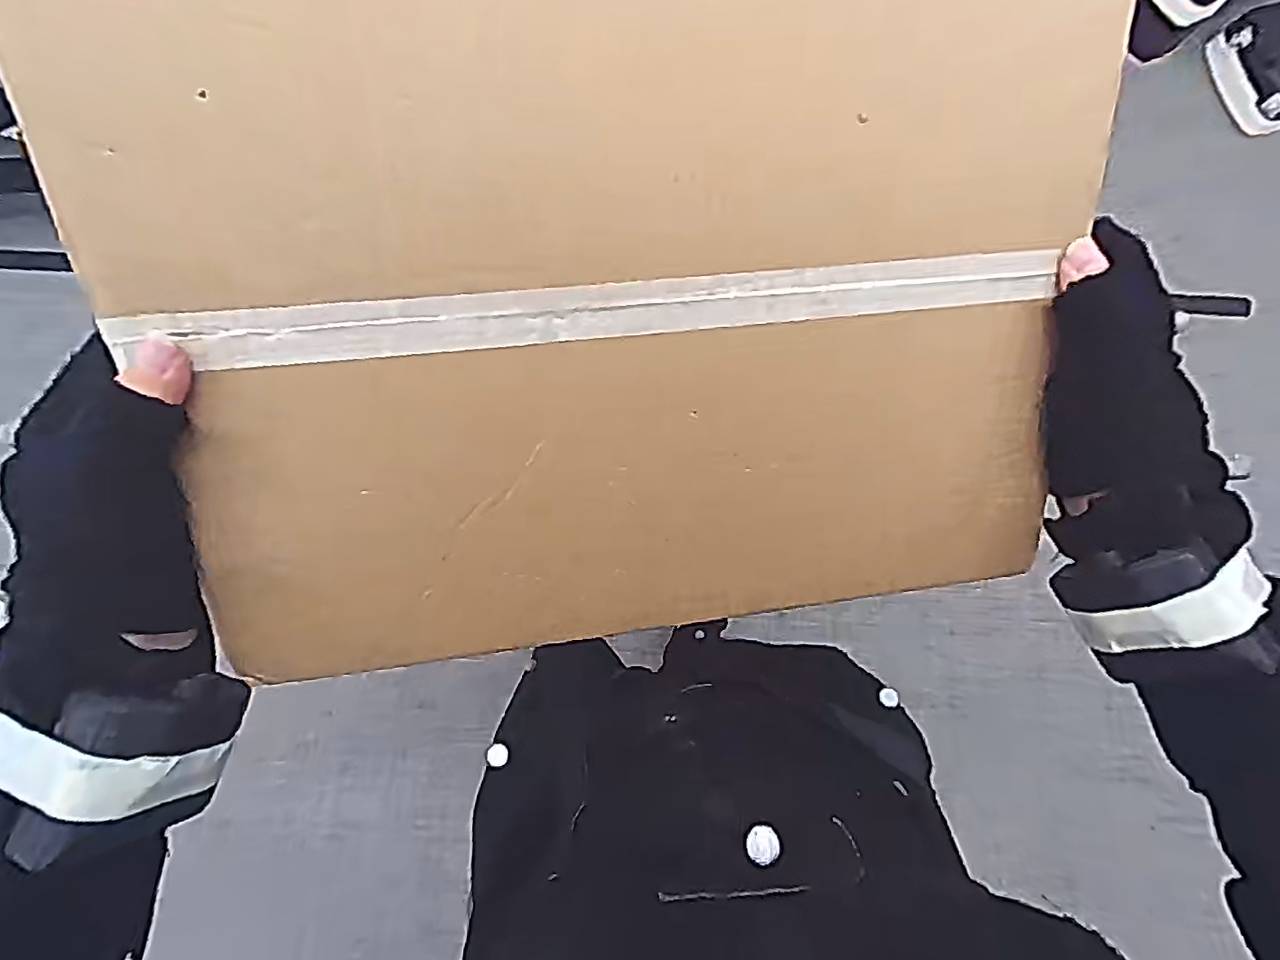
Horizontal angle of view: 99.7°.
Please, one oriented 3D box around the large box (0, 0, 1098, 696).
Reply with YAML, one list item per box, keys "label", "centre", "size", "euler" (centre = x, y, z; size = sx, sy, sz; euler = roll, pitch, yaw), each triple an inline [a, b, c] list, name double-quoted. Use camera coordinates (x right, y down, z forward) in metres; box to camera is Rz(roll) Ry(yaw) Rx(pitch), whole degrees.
- label: "large box"
  centre: [-0.022, -0.110, 0.376]
  size: [0.408, 0.320, 0.320]
  euler: [-7, 109, -7]
